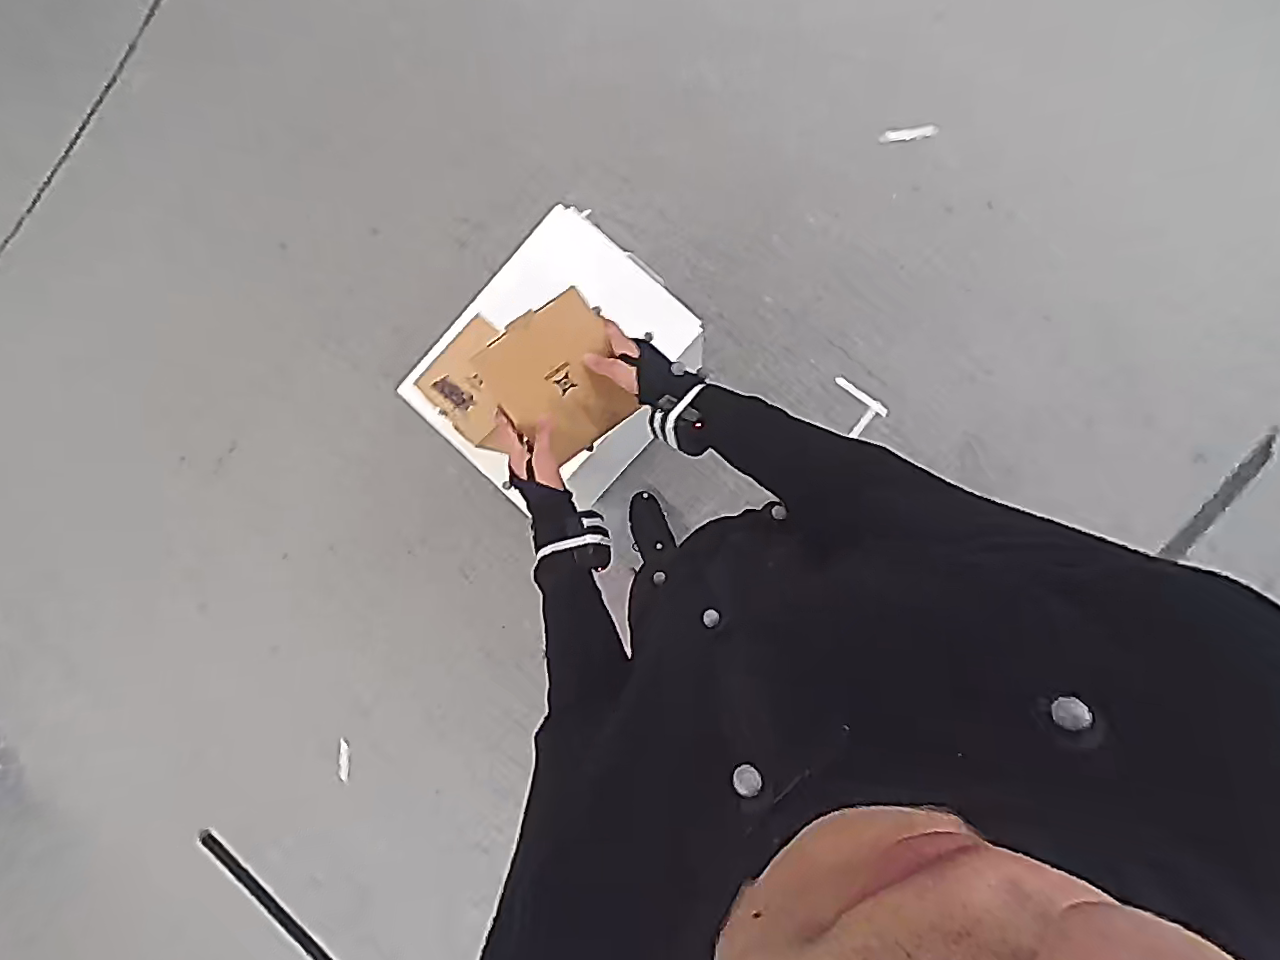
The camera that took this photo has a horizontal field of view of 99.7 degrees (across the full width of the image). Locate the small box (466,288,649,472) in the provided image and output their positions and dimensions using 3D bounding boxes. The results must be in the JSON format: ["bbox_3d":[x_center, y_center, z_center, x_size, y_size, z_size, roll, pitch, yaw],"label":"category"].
[{"bbox_3d":[-0.112,-0.134,0.757,0.168,0.176,0.179,-37,101,-4],"label":"small box"}]

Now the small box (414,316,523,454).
[{"bbox_3d":[-0.275,-0.165,1.015,0.168,0.176,0.179,43,92,5],"label":"small box"}]
